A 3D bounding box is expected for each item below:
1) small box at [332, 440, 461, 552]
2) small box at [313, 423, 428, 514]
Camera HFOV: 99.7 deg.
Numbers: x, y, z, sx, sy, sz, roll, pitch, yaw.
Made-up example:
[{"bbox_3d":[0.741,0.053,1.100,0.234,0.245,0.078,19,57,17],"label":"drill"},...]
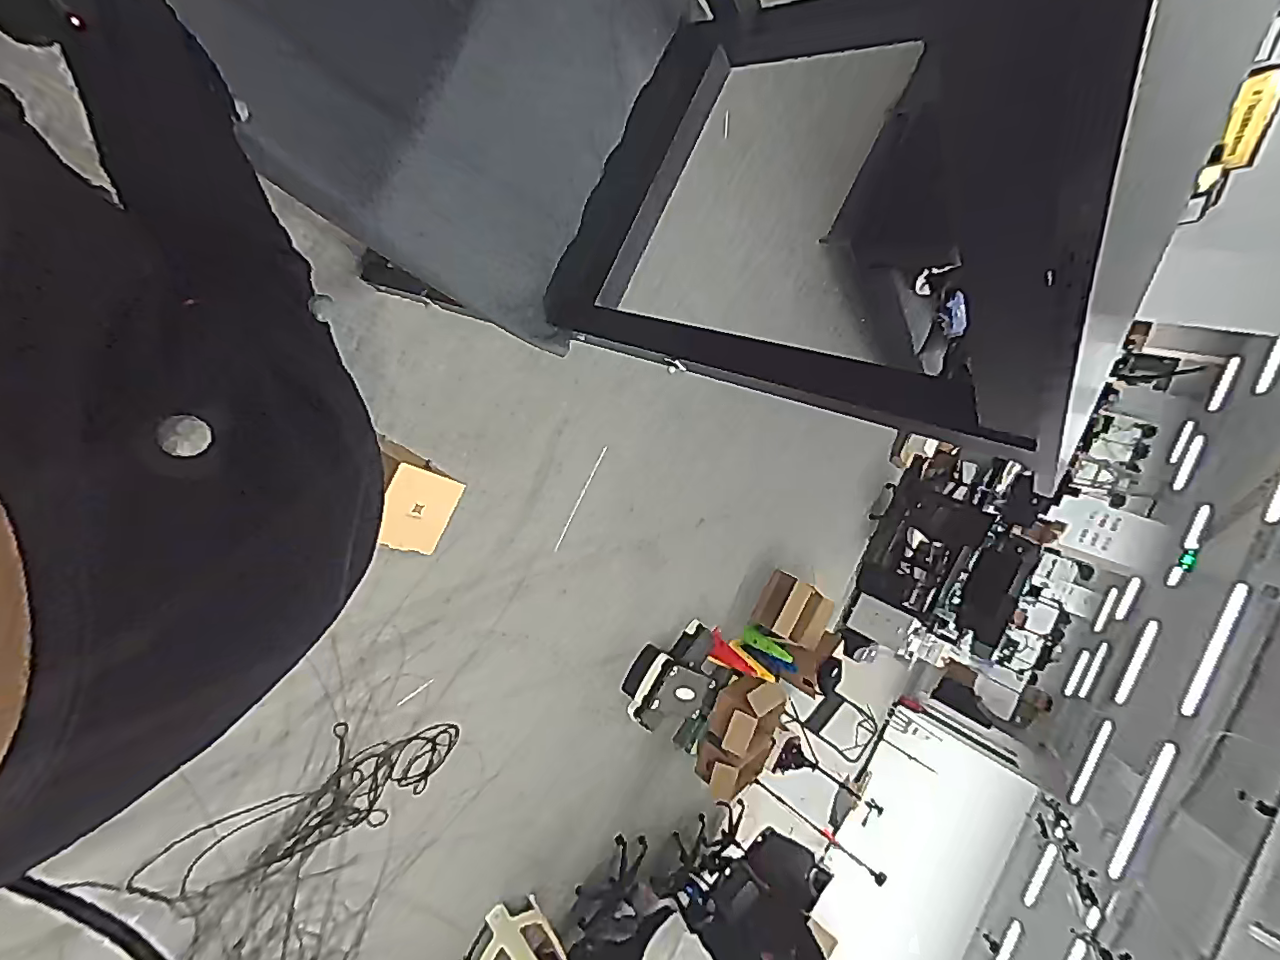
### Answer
[{"bbox_3d":[-0.531,0.032,1.173,0.168,0.176,0.179,28,87,-52],"label":"small box"},{"bbox_3d":[-0.644,-0.013,1.282,0.168,0.176,0.179,24,90,-53],"label":"small box"}]
